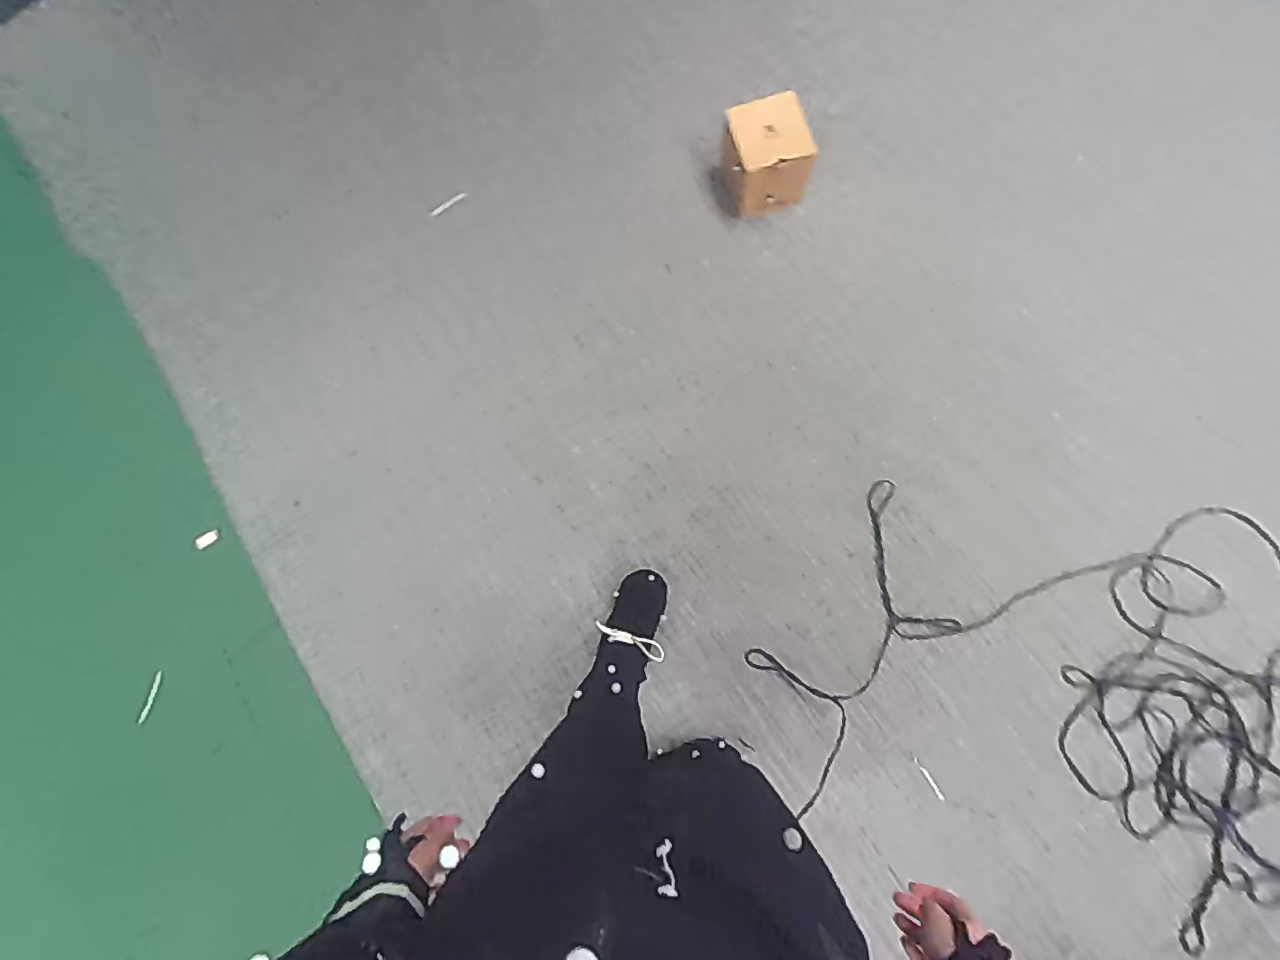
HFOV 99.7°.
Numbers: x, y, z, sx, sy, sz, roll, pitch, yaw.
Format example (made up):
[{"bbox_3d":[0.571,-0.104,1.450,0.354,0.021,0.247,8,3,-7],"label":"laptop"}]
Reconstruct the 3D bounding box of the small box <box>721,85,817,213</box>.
[{"bbox_3d":[0.298,-0.785,1.296,0.168,0.176,0.179,-16,79,1],"label":"small box"}]
